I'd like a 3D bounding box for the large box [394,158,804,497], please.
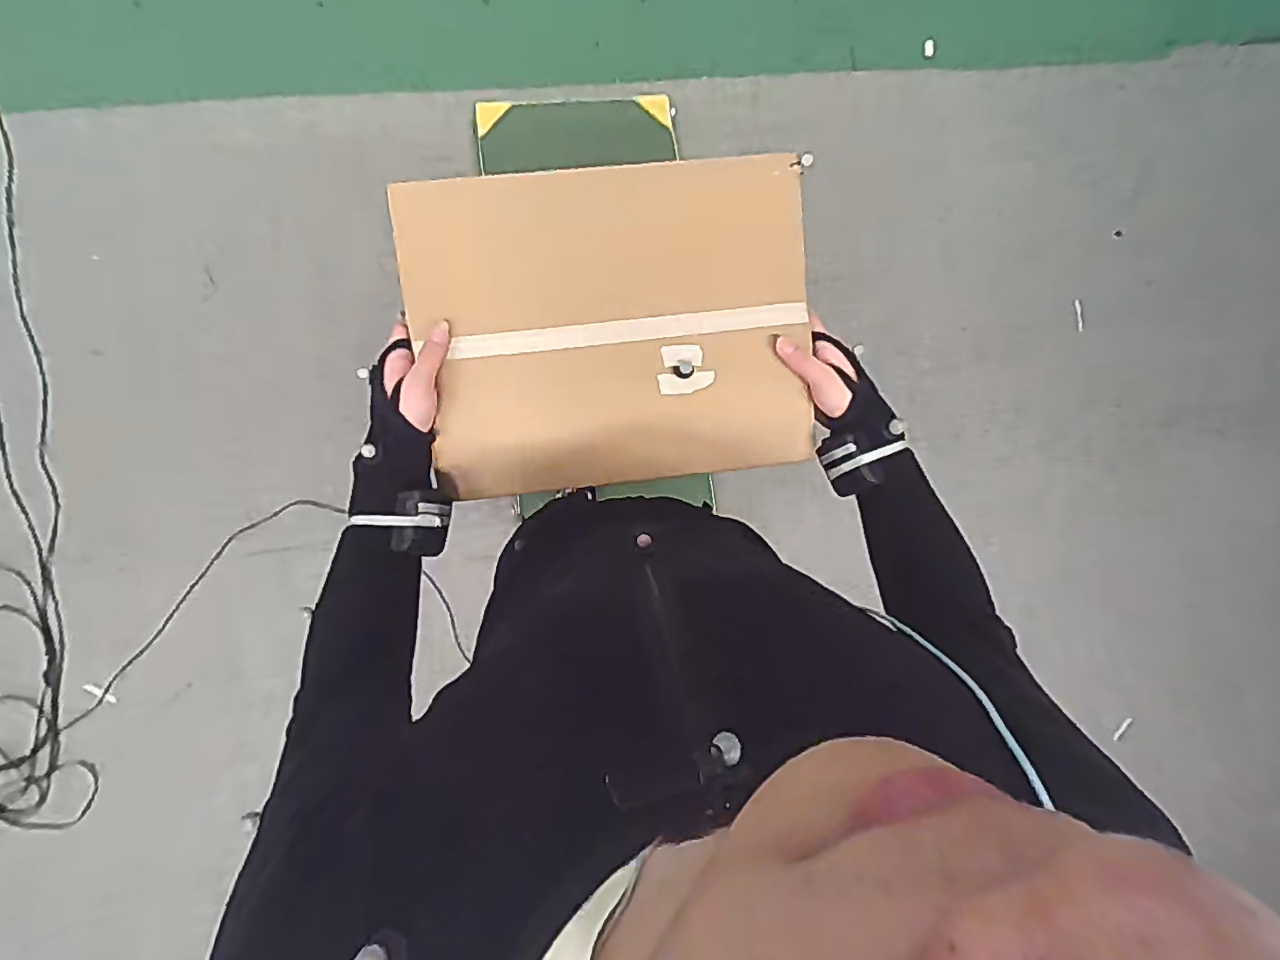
[{"bbox_3d":[-0.045,-0.177,0.714,0.408,0.320,0.320,-7,99,-4],"label":"large box"}]
